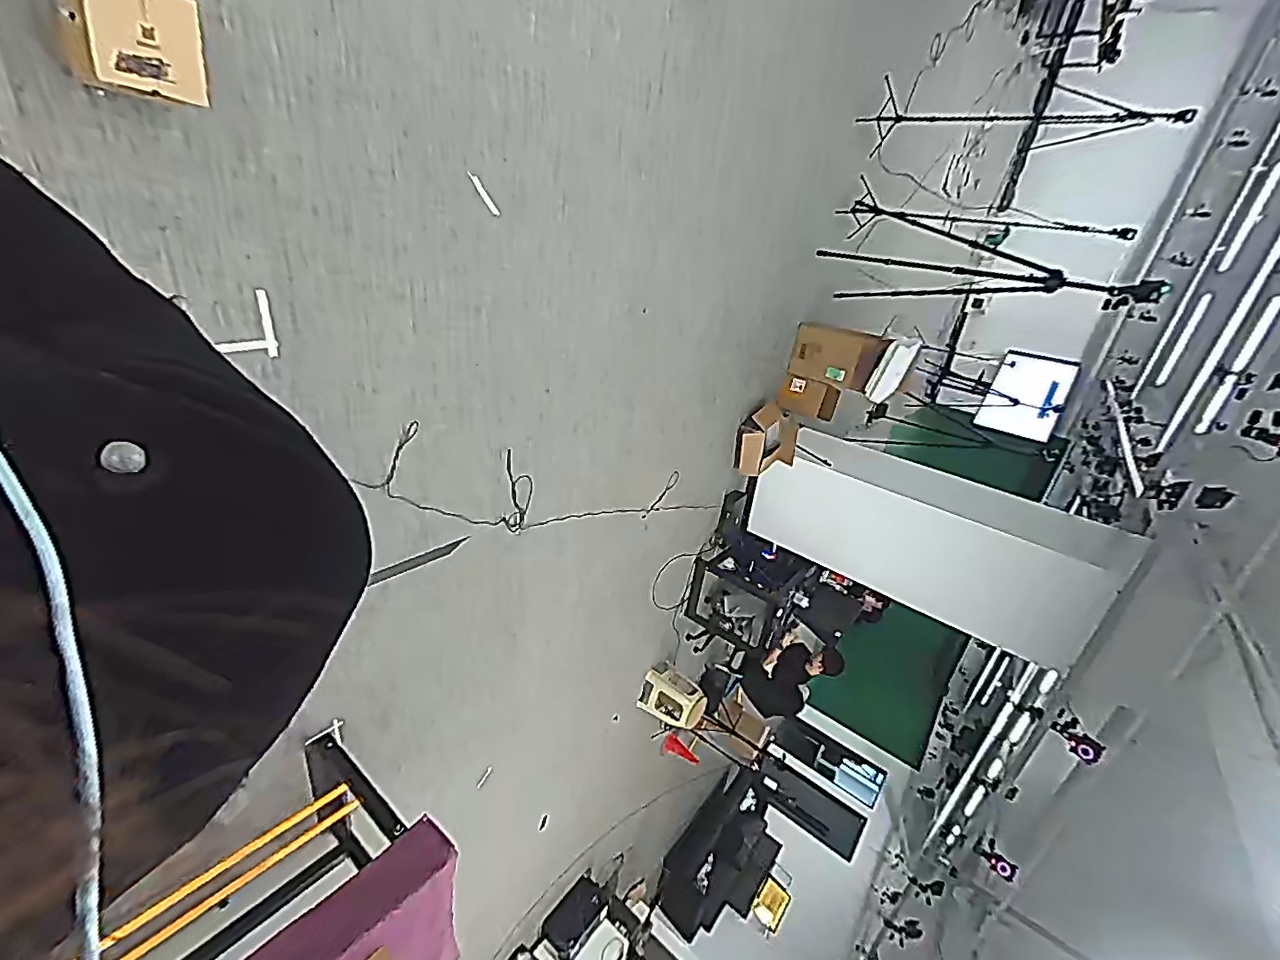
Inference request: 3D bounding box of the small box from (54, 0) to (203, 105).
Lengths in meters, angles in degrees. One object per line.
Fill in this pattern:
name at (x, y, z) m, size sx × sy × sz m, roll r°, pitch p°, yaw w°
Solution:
small box at (-0.955, -0.828, 1.010) m, size 0.168 × 0.176 × 0.179 m, roll -20°, pitch 126°, yaw -51°
